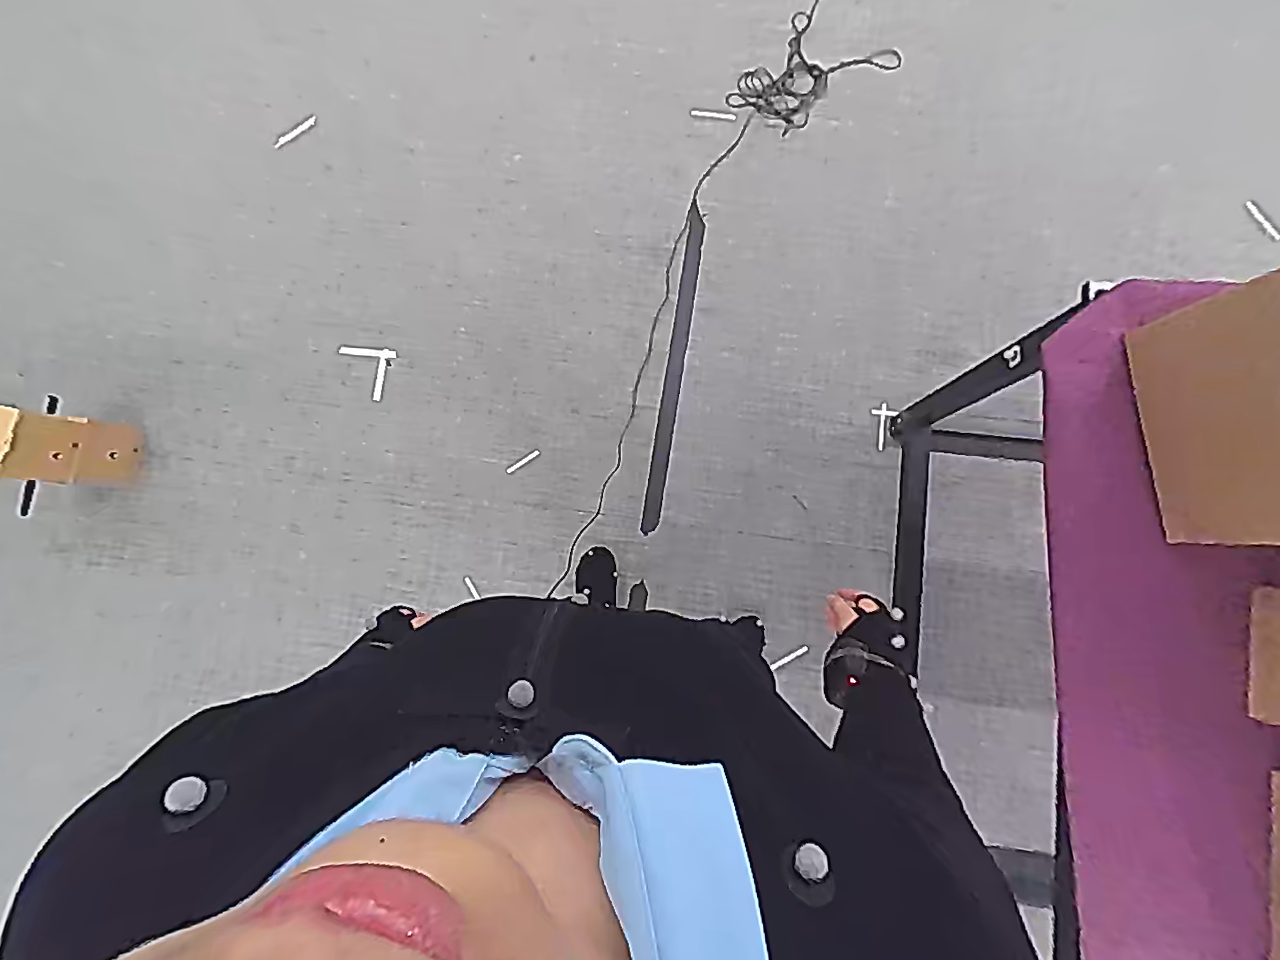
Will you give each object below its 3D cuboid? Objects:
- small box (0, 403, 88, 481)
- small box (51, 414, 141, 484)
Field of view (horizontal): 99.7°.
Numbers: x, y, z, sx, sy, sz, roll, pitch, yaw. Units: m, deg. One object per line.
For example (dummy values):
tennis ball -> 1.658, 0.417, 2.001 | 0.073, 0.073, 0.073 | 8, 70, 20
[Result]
small box -> -1.567, -0.098, 1.350 | 0.179, 0.176, 0.168 | 13, 83, 3
small box -> -1.564, -0.084, 1.512 | 0.179, 0.176, 0.168 | 6, 82, 3
